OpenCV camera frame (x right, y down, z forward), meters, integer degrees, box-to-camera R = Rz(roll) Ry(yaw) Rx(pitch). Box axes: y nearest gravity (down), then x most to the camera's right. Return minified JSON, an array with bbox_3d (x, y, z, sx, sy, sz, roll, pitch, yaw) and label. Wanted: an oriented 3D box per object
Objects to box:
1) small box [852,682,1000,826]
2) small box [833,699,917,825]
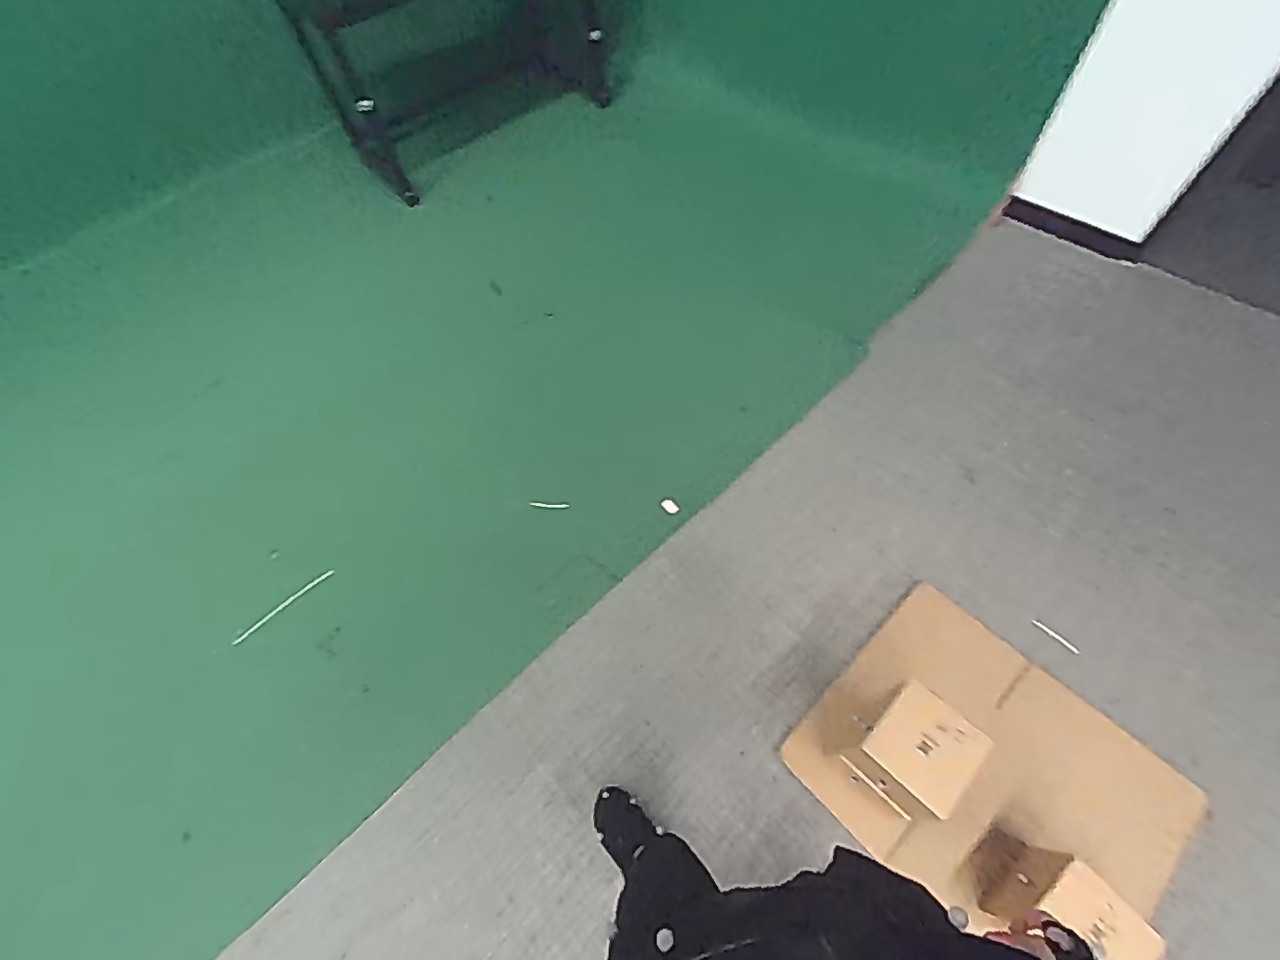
[{"bbox_3d":[0.531,0.523,1.035,0.179,0.176,0.168,-41,65,-18],"label":"small box"},{"bbox_3d":[0.542,0.611,1.175,0.179,0.176,0.168,-42,65,-18],"label":"small box"}]
